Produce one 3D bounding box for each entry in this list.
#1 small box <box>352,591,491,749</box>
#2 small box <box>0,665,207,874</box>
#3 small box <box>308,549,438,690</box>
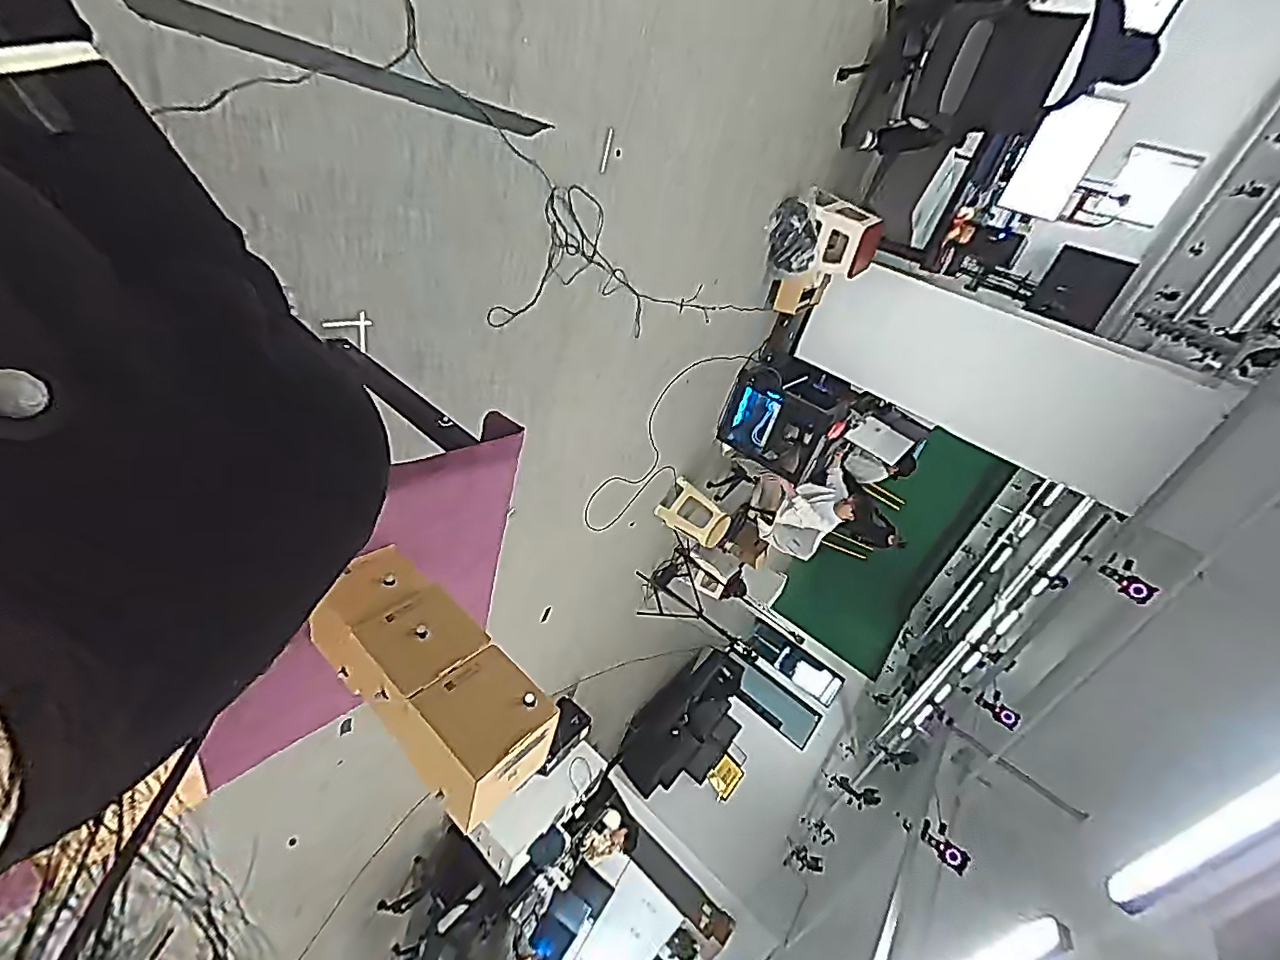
[{"bbox_3d":[-0.387,0.322,0.959,0.168,0.176,0.179,-29,144,-44],"label":"small box"},{"bbox_3d":[-0.756,0.392,0.767,0.168,0.176,0.179,-24,141,-49],"label":"small box"},{"bbox_3d":[-0.514,0.255,1.041,0.168,0.176,0.179,-25,142,-48],"label":"small box"}]
